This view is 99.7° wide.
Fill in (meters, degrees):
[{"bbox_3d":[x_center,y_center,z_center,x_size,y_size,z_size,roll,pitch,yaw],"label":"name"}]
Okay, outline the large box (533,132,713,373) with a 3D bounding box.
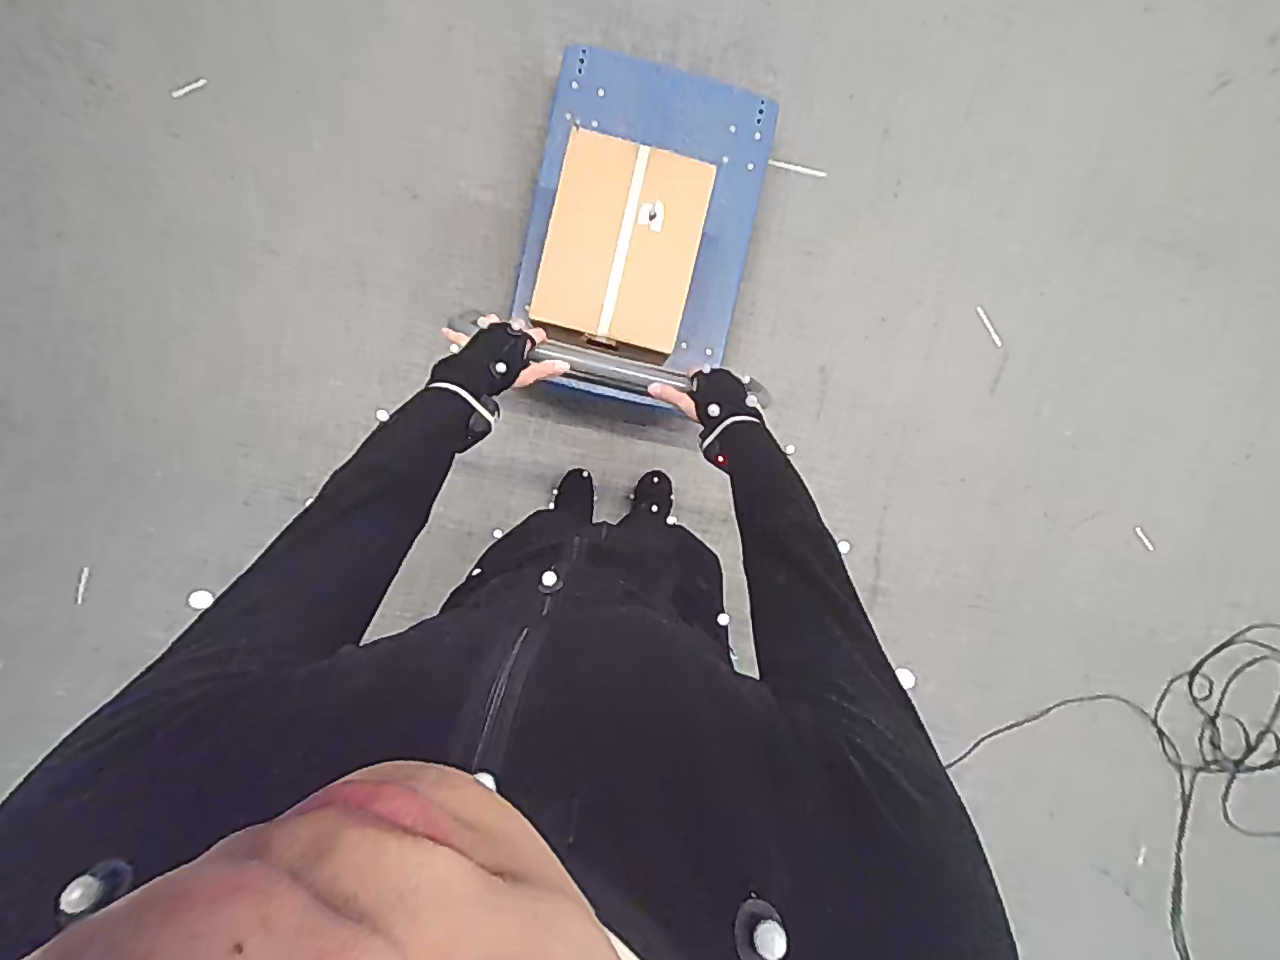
[{"bbox_3d":[-0.045,-0.499,1.277,0.320,0.320,0.408,13,91,-5],"label":"large box"}]
